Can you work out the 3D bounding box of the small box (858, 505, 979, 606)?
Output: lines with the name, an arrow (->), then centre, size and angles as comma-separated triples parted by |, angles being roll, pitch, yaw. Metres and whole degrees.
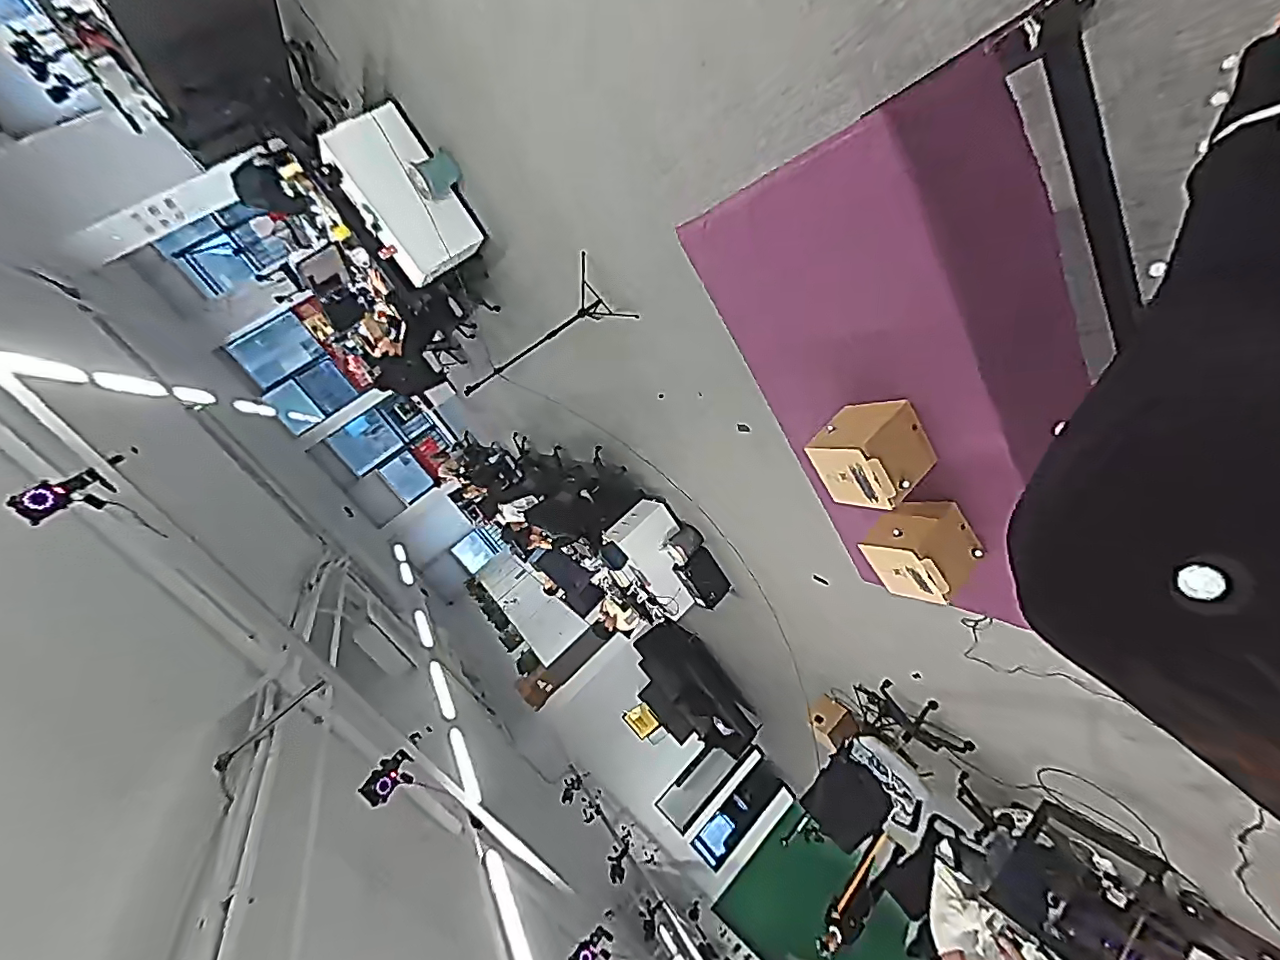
small box -> 0.673, 0.173, 1.296 | 0.168, 0.176, 0.179 | 53, 162, -11
